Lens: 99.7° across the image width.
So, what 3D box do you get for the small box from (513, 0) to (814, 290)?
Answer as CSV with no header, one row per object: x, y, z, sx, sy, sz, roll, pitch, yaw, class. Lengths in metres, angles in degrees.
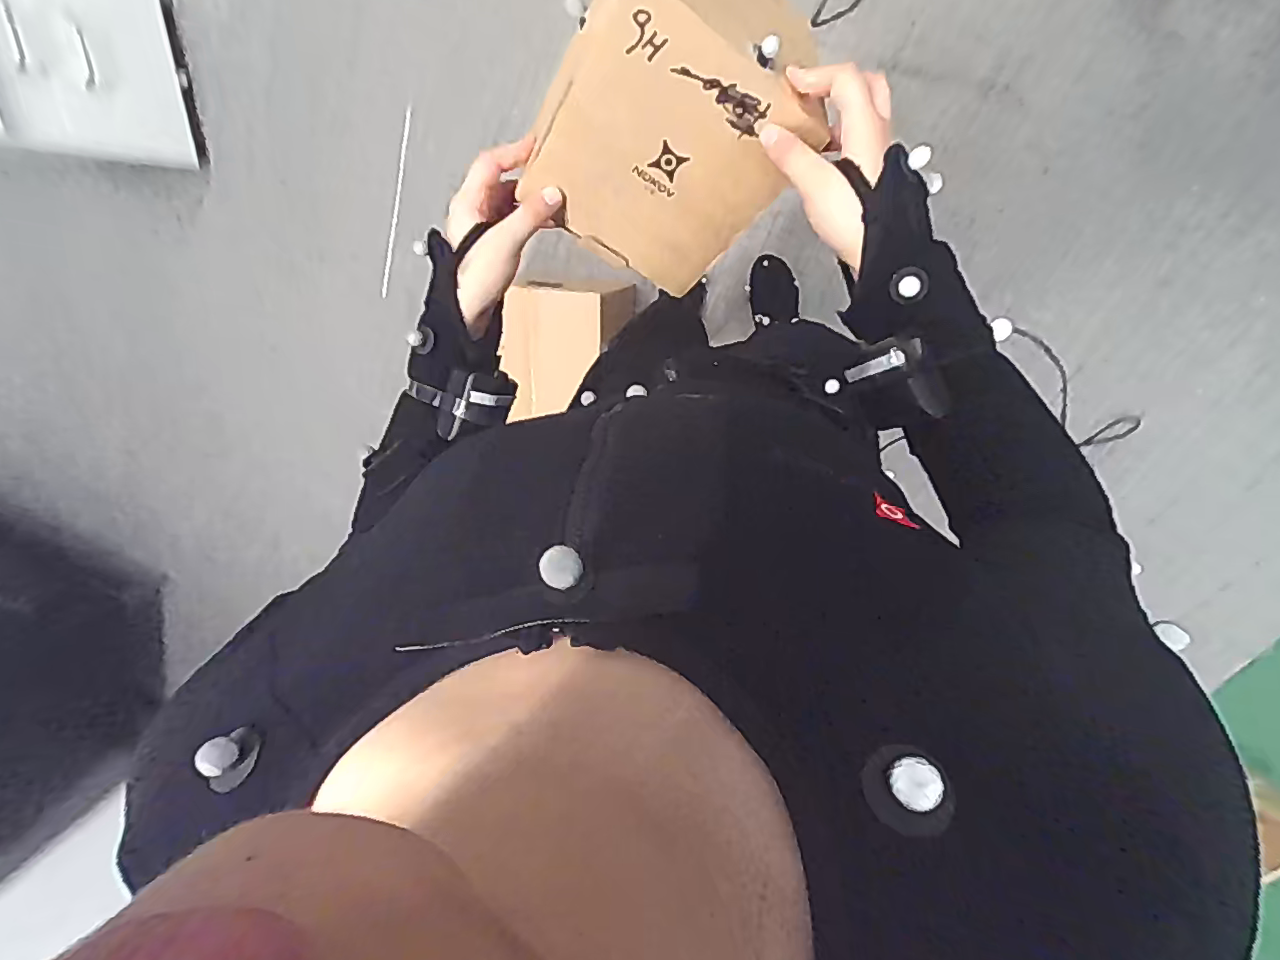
0.021,-0.303,0.442,0.168,0.176,0.179,23,147,-26,small box
